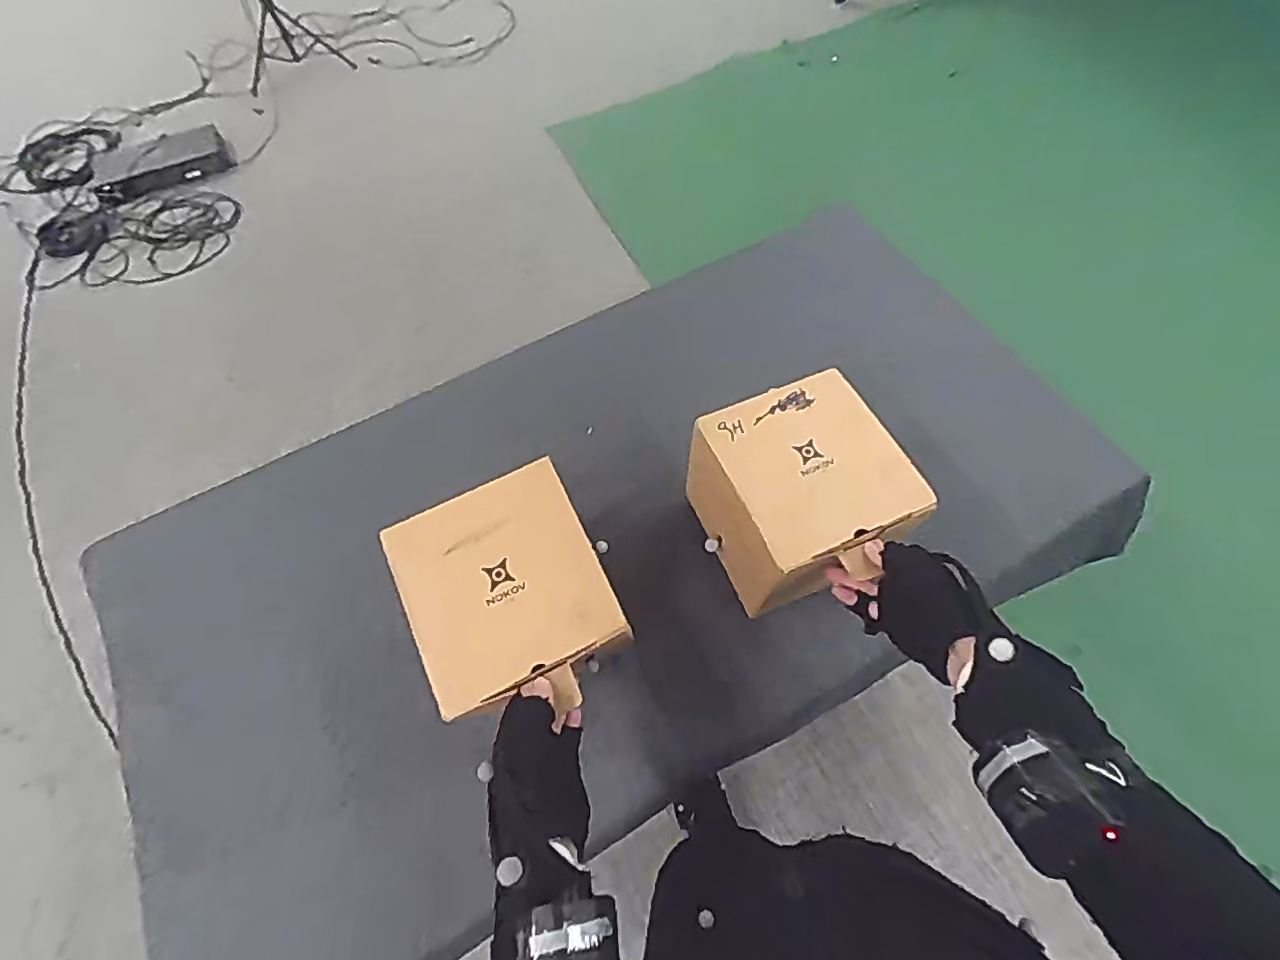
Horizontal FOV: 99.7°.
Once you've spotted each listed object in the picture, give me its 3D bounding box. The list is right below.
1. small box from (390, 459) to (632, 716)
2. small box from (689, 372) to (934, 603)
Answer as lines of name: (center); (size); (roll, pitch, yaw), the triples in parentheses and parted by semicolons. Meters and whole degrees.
small box: (-0.115, 0.111, 0.544); (0.168, 0.176, 0.179); (-25, 71, -10)
small box: (0.166, 0.019, 0.589); (0.168, 0.176, 0.179); (-19, 64, -11)
